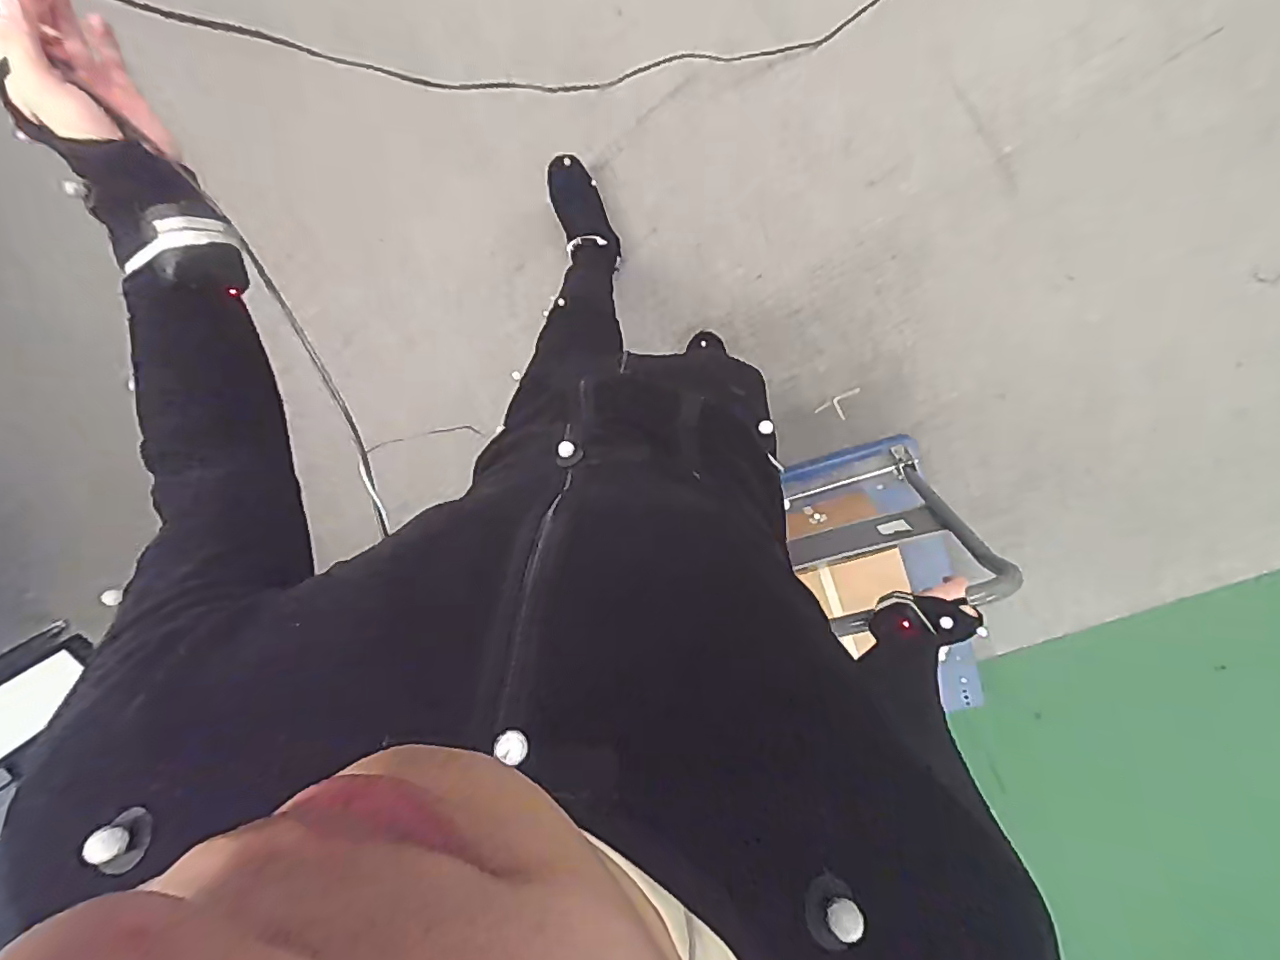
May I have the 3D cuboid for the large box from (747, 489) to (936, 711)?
[{"bbox_3d":[0.485,0.292,1.360,0.320,0.320,0.408,-18,108,16],"label":"large box"}]
